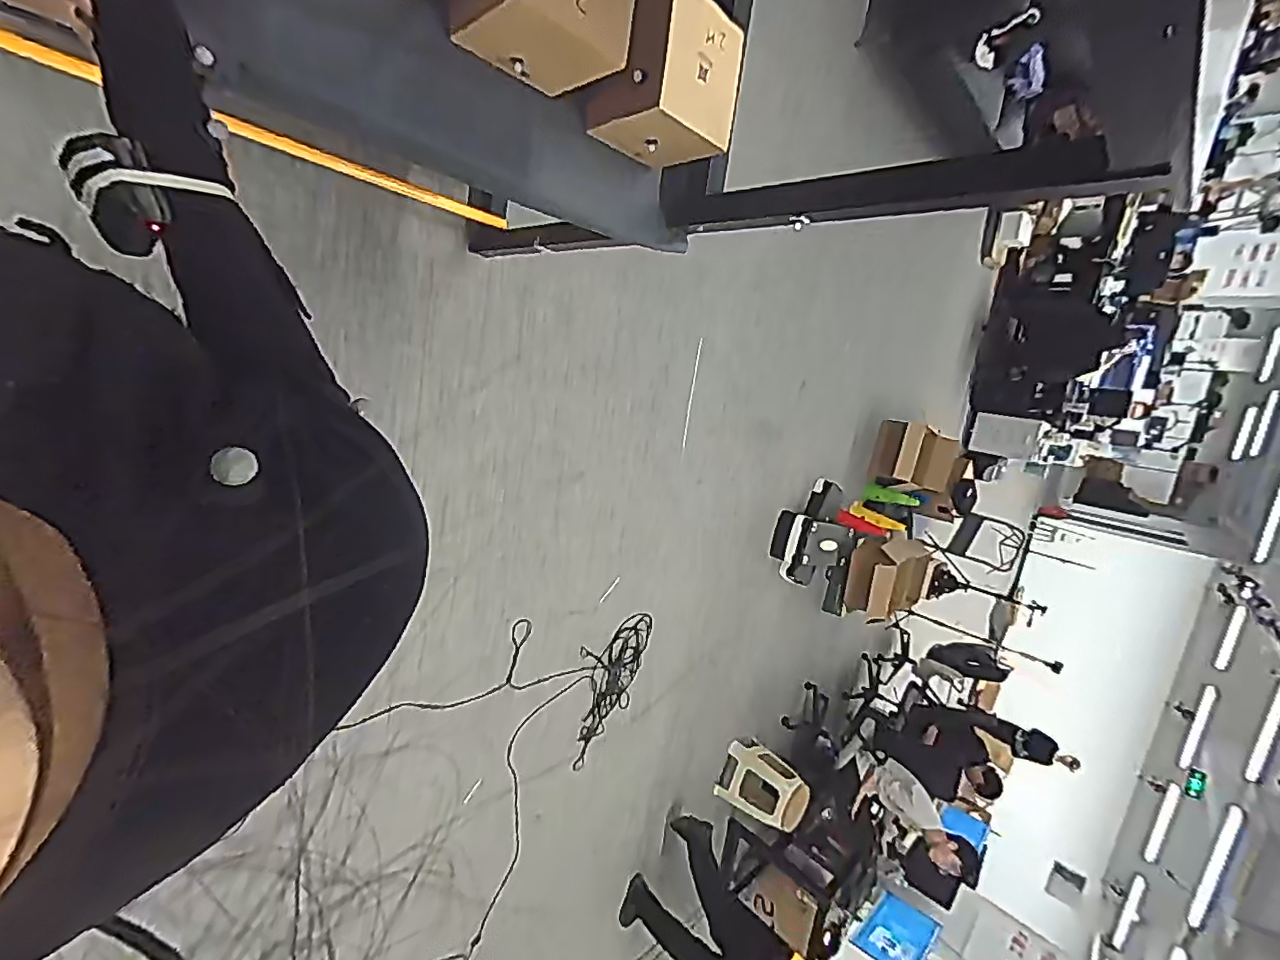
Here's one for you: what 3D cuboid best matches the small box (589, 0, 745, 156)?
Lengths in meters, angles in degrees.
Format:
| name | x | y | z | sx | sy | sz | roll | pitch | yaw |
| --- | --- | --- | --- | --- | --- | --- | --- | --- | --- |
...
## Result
| name | x | y | z | sx | sy | sz | roll | pitch | yaw |
| --- | --- | --- | --- | --- | --- | --- | --- | --- | --- |
| small box | 0.038 | -0.640 | 0.854 | 0.168 | 0.176 | 0.179 | -4 | 107 | -46 |
